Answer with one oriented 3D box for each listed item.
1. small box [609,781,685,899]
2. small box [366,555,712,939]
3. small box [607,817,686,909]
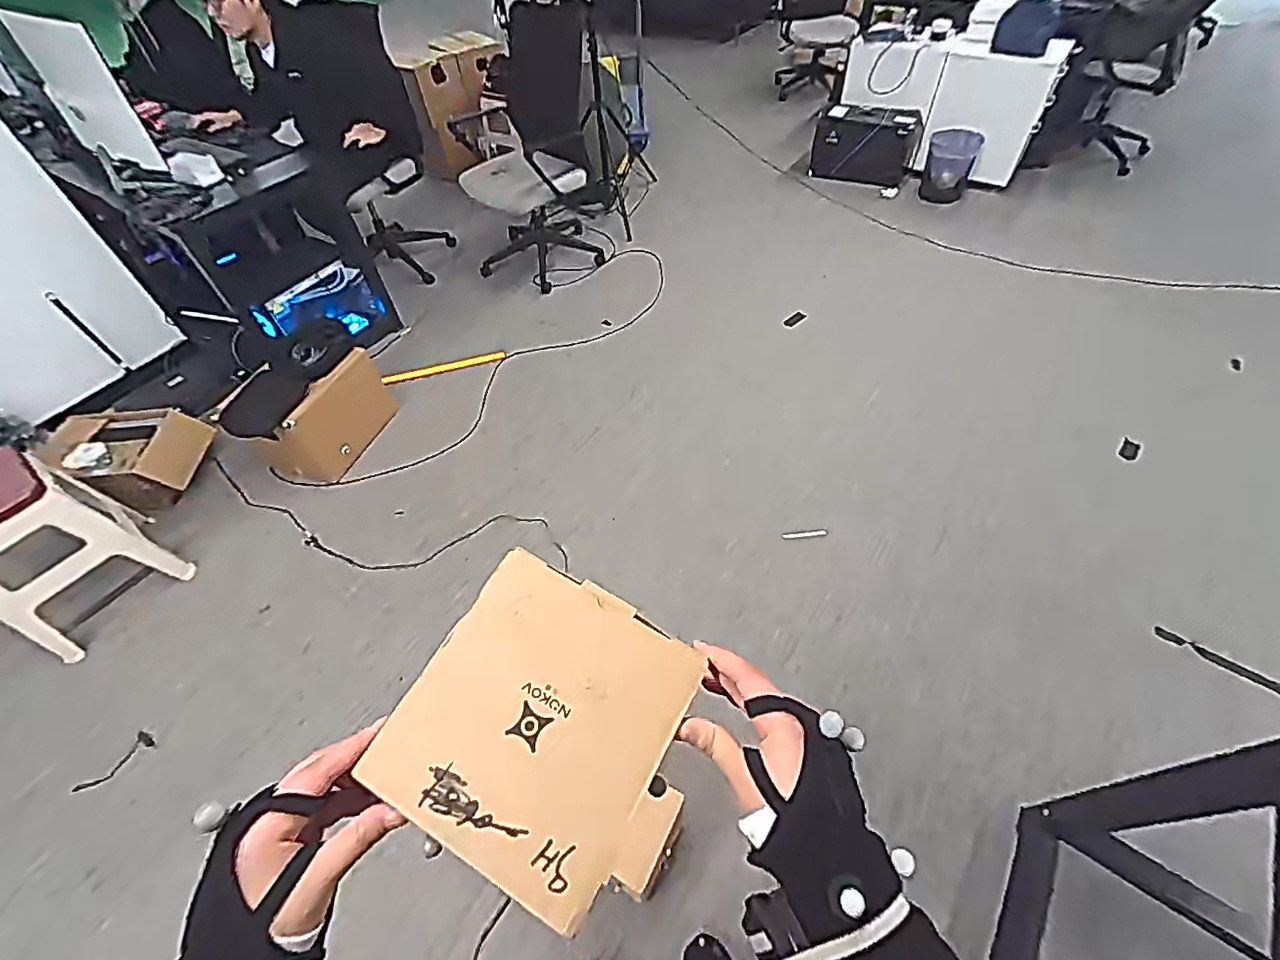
[{"bbox_3d":[-0.021,0.682,1.056,0.168,0.176,0.179,22,54,19],"label":"small box"},{"bbox_3d":[-0.063,0.194,0.426,0.168,0.176,0.179,27,65,14],"label":"small box"},{"bbox_3d":[-0.013,0.789,1.178,0.168,0.176,0.179,24,57,22],"label":"small box"}]
